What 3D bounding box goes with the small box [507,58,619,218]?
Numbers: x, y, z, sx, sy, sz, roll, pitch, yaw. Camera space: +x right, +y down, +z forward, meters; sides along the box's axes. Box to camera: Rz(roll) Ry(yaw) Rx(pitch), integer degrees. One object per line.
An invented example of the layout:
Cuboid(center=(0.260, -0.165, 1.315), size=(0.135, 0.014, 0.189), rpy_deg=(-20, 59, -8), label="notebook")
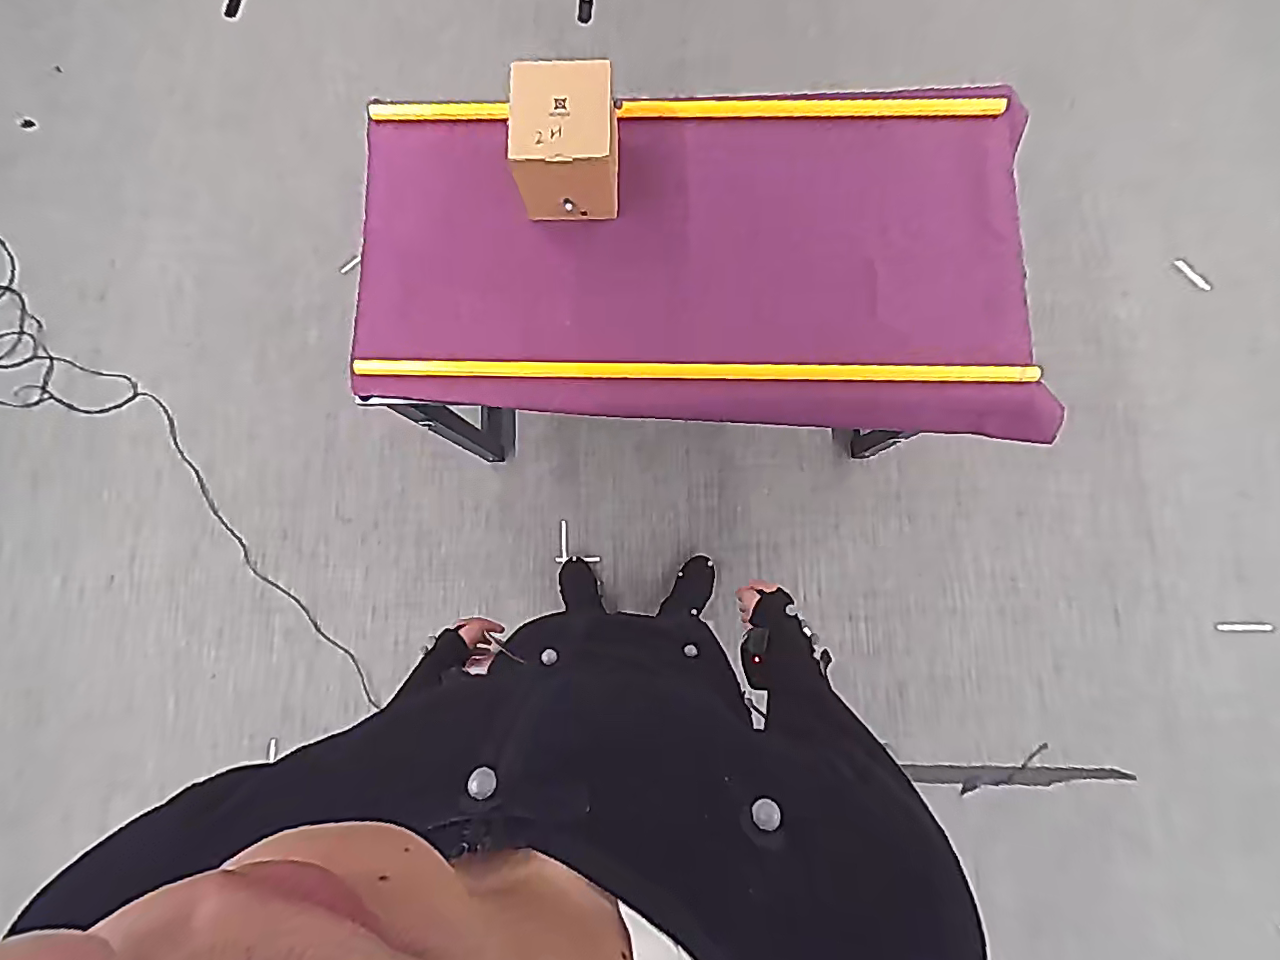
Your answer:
Cuboid(center=(-0.127, -0.591, 0.949), size=(0.168, 0.176, 0.179), rpy_deg=(1, 84, 2), label="small box")
